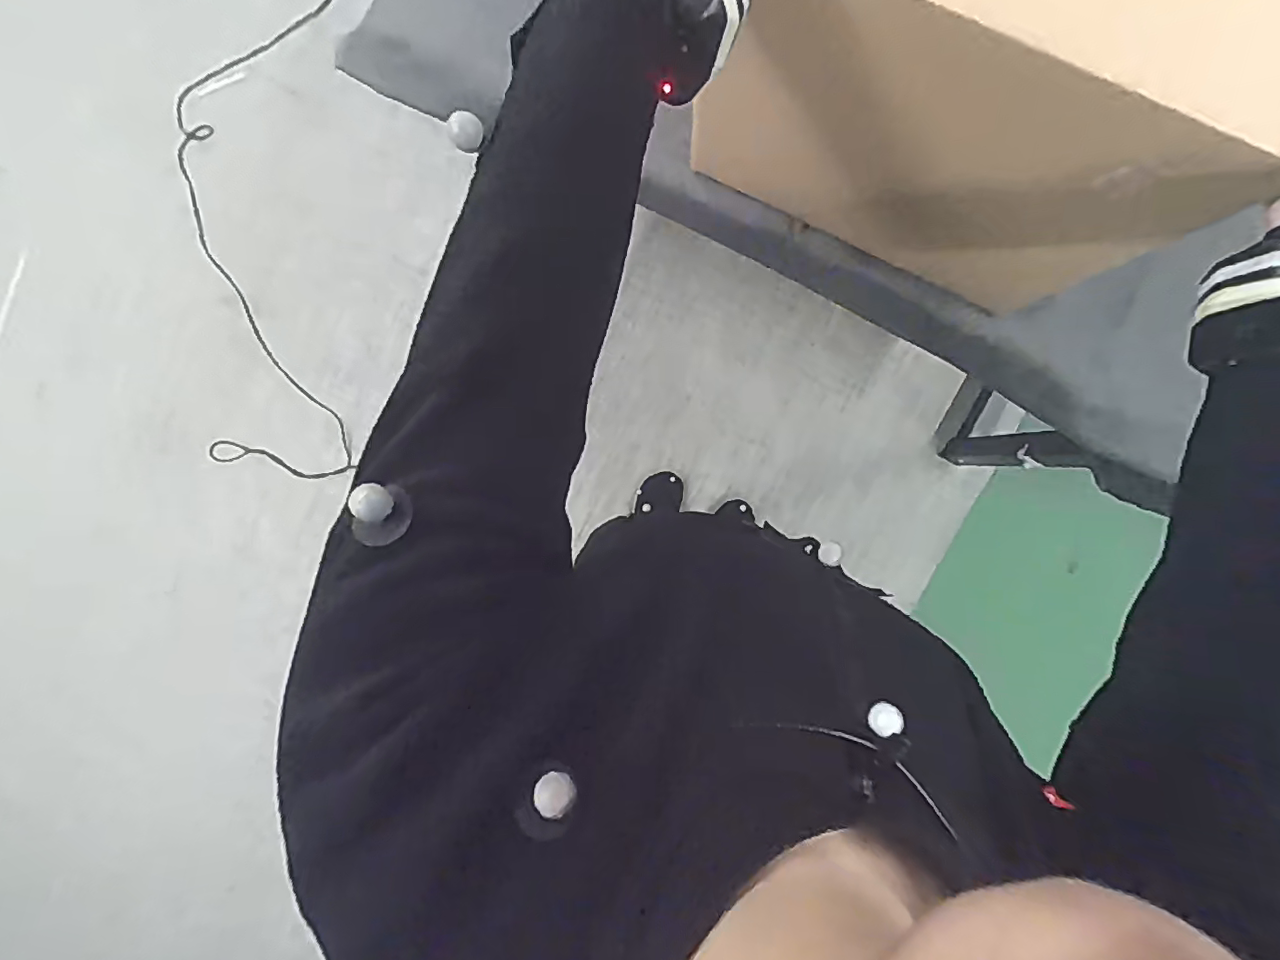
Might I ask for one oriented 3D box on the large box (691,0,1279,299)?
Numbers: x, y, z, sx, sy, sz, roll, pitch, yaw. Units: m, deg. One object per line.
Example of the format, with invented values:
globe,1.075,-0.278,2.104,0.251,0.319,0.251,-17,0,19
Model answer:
large box,0.291,-0.416,0.466,0.408,0.320,0.320,26,94,2
